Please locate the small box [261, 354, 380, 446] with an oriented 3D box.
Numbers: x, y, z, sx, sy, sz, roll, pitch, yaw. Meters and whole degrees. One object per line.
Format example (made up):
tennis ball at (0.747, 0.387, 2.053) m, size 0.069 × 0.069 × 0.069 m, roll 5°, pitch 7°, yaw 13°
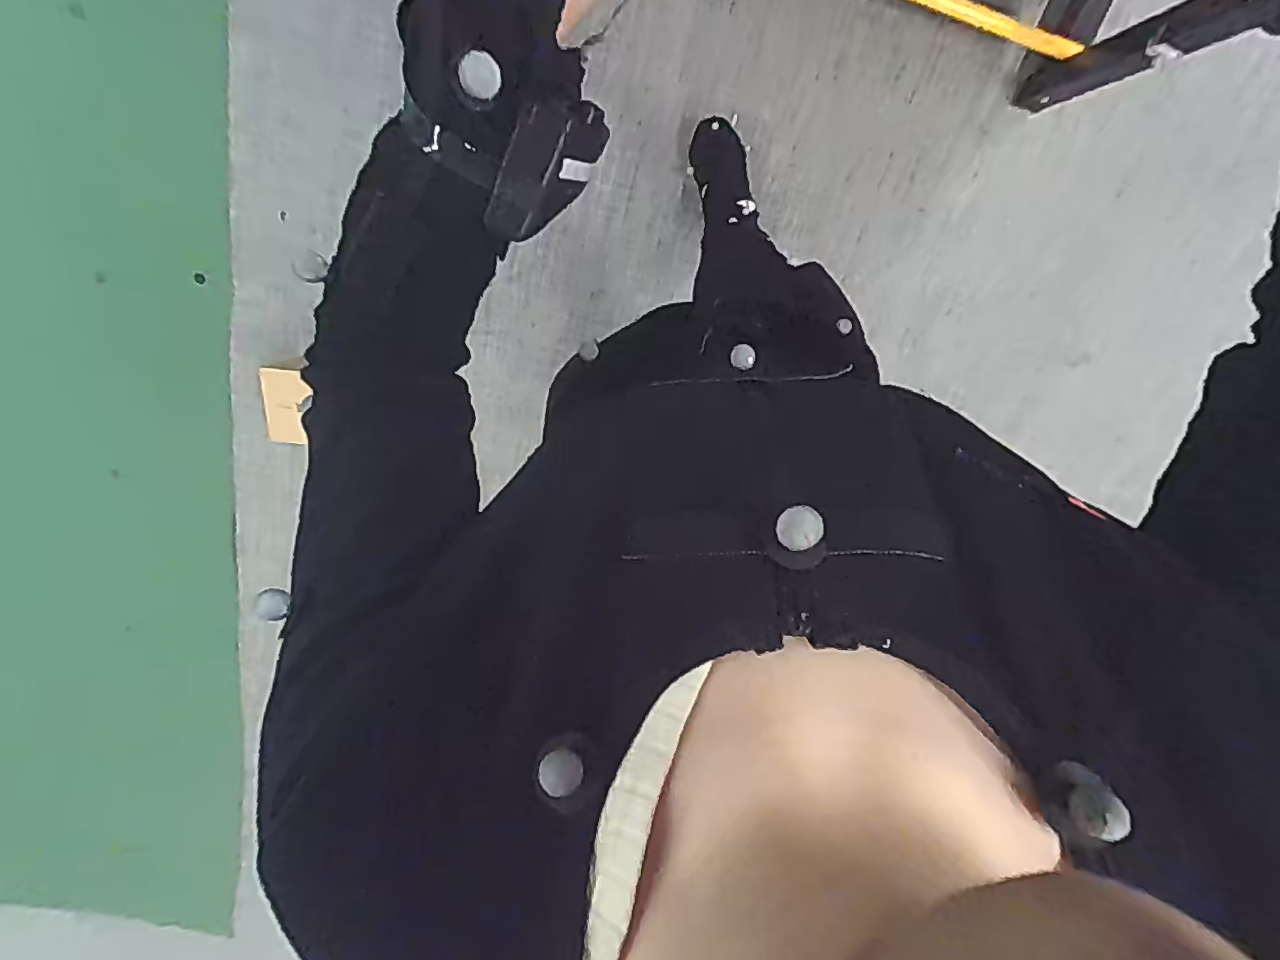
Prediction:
small box at (-0.713, -0.187, 1.232) m, size 0.179 × 0.176 × 0.168 m, roll 6°, pitch 112°, yaw -1°
